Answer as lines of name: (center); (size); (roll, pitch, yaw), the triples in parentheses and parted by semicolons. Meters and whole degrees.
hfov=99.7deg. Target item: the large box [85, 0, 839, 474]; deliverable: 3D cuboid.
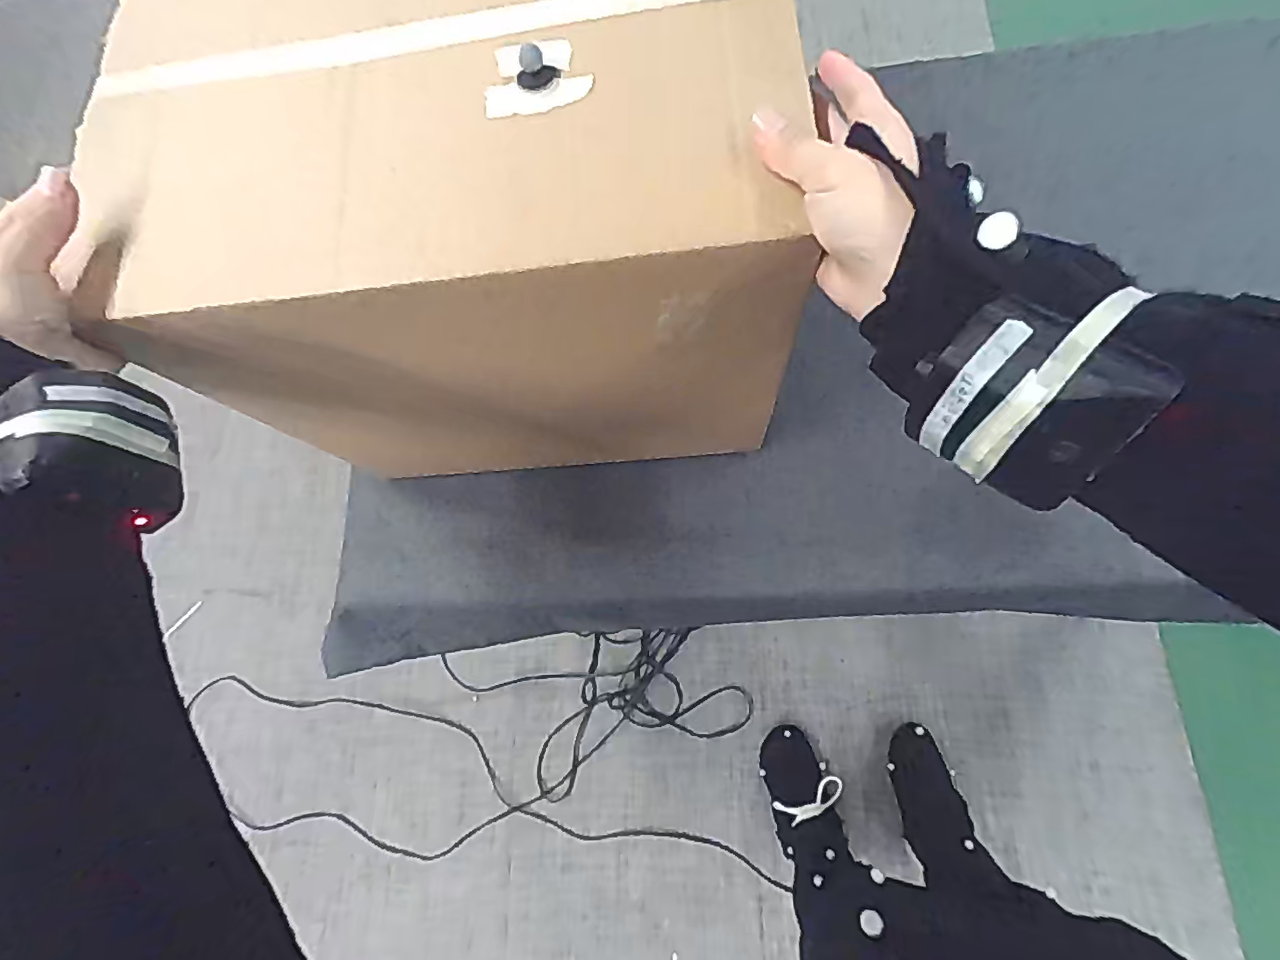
large box: (-0.096, -0.207, 0.458); (0.408, 0.320, 0.320); (-4, 75, 4)
